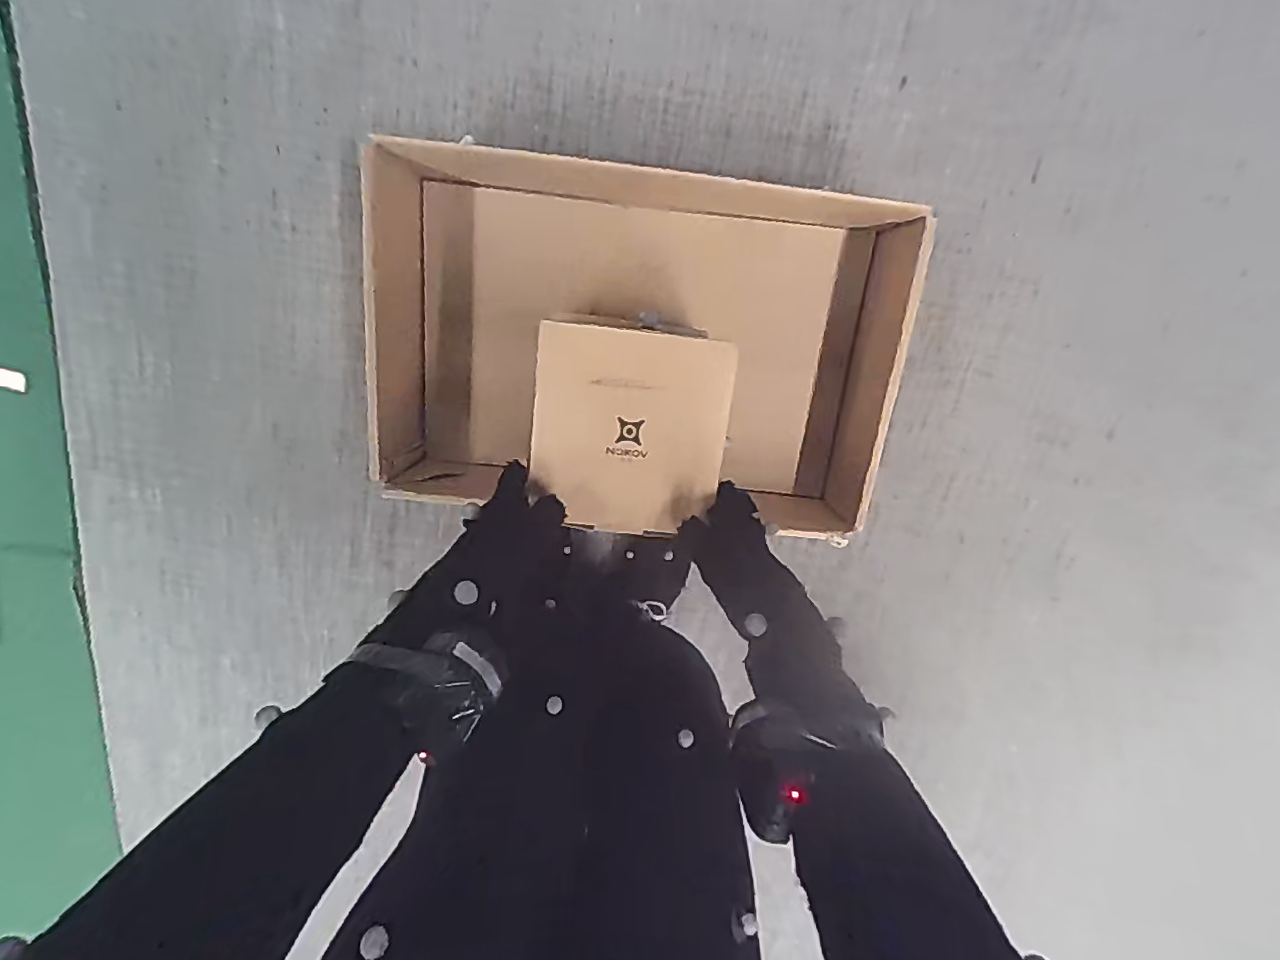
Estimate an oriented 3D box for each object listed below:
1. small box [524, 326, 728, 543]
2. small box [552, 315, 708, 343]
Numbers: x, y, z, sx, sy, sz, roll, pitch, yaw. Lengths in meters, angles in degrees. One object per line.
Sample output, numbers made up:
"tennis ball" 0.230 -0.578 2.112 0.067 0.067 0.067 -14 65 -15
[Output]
"small box" -0.014 -0.054 0.529 0.168 0.176 0.179 1 108 -1
"small box" -0.019 -0.118 0.695 0.179 0.176 0.168 7 106 -1
